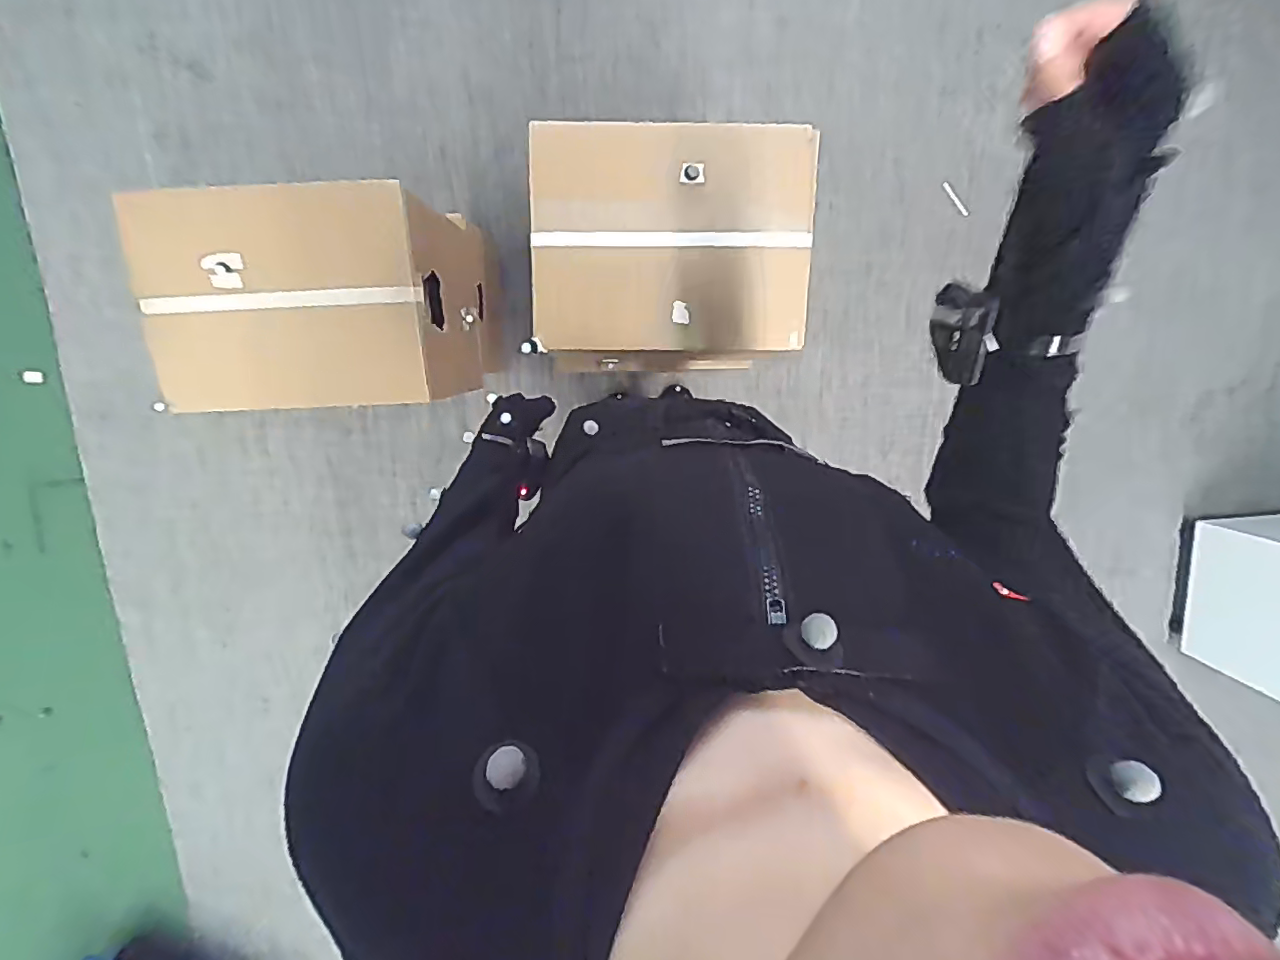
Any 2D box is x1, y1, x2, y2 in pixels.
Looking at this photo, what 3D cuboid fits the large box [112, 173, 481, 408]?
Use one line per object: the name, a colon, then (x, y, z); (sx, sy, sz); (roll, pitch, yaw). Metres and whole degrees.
large box: (-0.529, -0.305, 0.930); (0.408, 0.320, 0.320); (-2, 104, 0)
